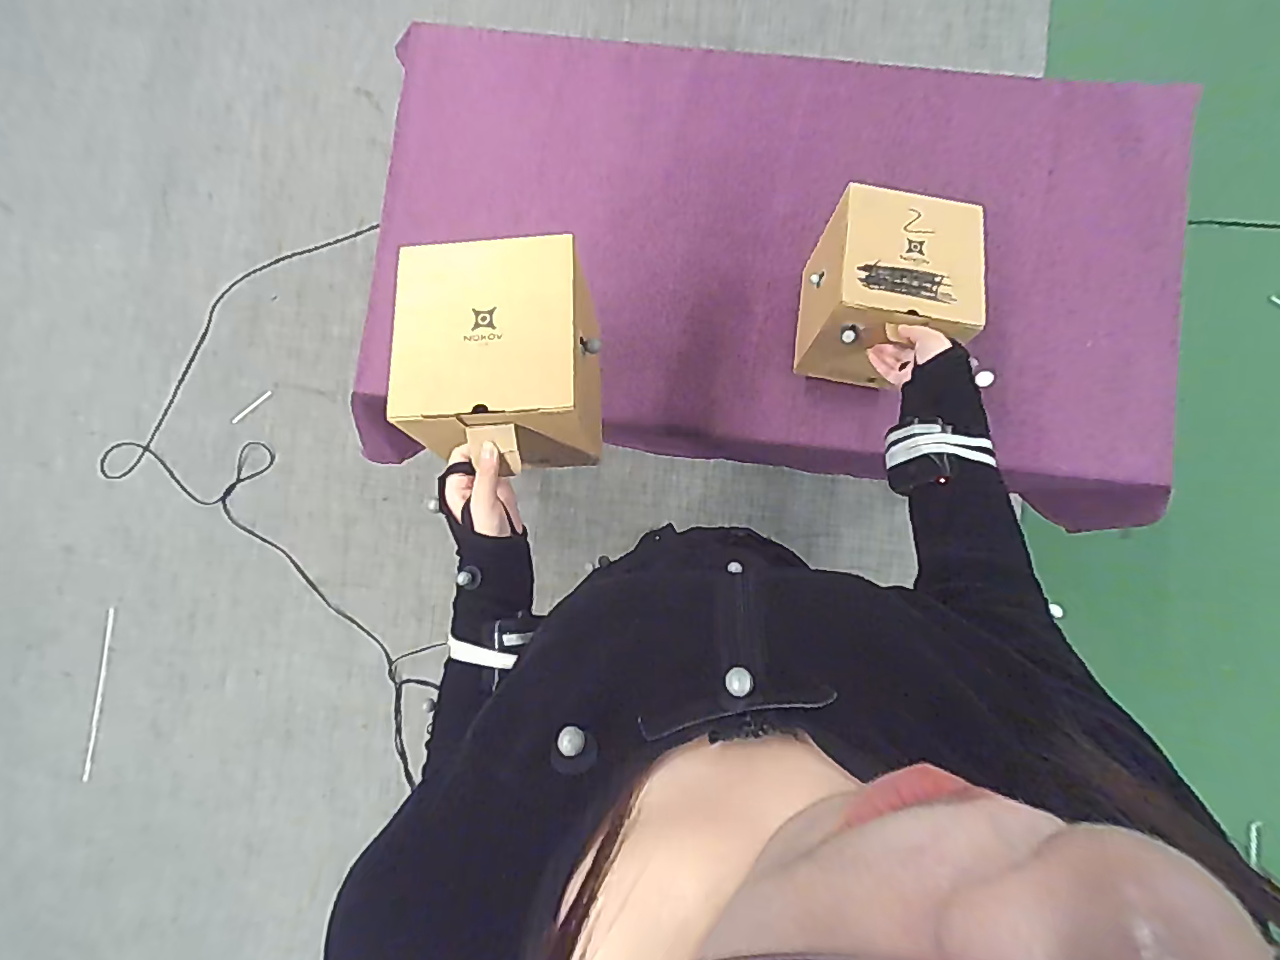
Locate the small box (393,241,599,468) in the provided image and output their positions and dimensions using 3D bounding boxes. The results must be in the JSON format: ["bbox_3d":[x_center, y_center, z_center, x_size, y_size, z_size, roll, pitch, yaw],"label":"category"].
[{"bbox_3d":[-0.137,-0.121,0.576,0.168,0.176,0.179,-3,76,3],"label":"small box"}]
